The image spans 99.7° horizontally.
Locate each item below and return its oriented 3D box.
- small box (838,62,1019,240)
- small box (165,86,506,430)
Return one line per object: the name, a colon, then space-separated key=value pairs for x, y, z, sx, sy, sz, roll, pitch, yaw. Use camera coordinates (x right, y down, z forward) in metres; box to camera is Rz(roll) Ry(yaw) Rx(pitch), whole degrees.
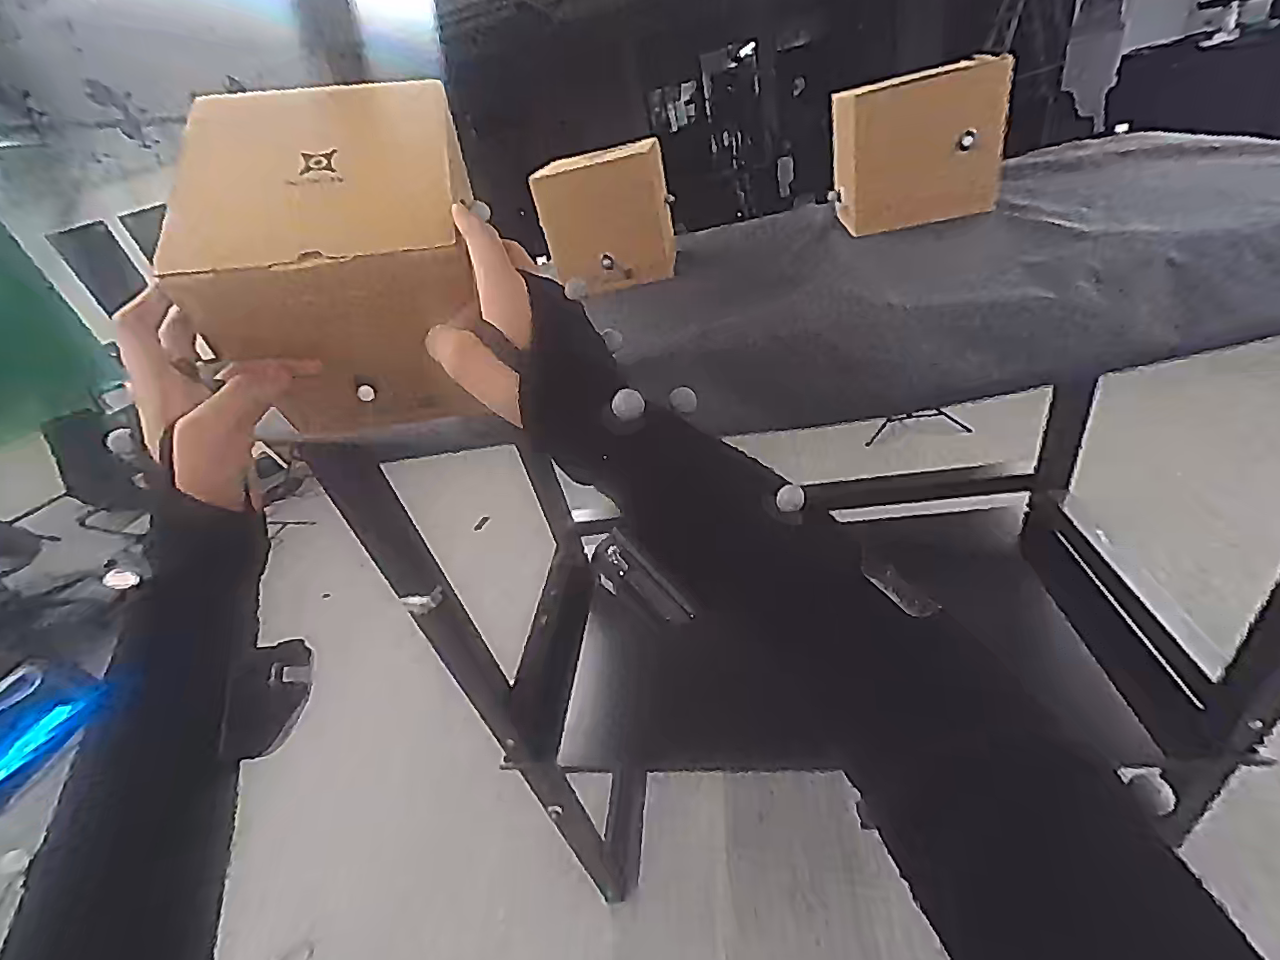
small box: x=0.374 y=-0.445 z=0.739 sx=0.179 sy=0.176 sz=0.168 roll=-6 pitch=33 yaw=13
small box: x=-0.204 y=-0.163 z=0.417 sx=0.168 sy=0.176 sz=0.179 roll=-10 pitch=65 yaw=-8
